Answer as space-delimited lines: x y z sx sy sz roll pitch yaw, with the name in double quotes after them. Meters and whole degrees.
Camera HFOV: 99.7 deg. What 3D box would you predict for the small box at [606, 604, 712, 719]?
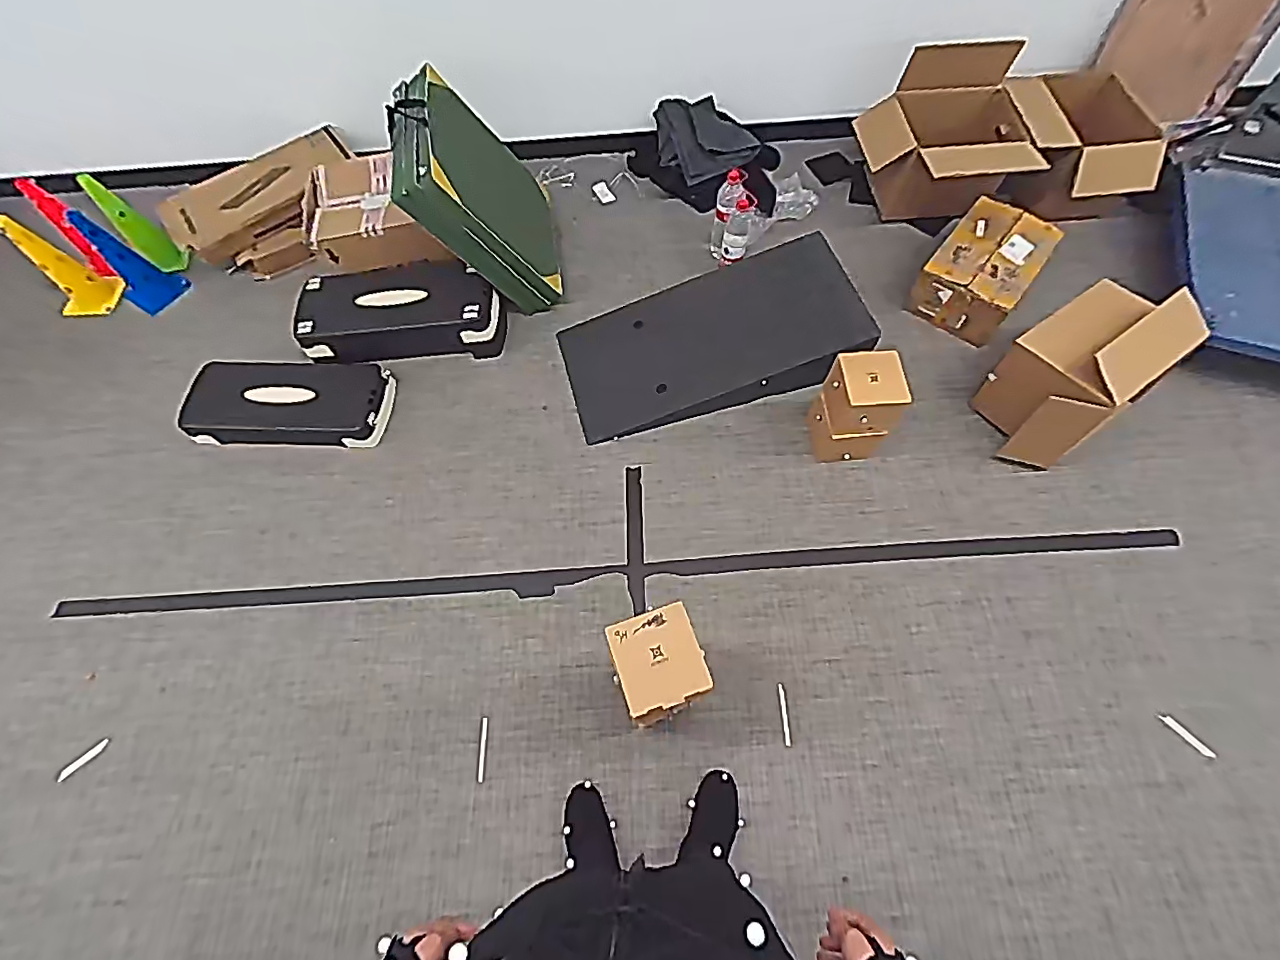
0.038 0.376 1.113 0.168 0.176 0.179 -17 66 -6 "small box"
